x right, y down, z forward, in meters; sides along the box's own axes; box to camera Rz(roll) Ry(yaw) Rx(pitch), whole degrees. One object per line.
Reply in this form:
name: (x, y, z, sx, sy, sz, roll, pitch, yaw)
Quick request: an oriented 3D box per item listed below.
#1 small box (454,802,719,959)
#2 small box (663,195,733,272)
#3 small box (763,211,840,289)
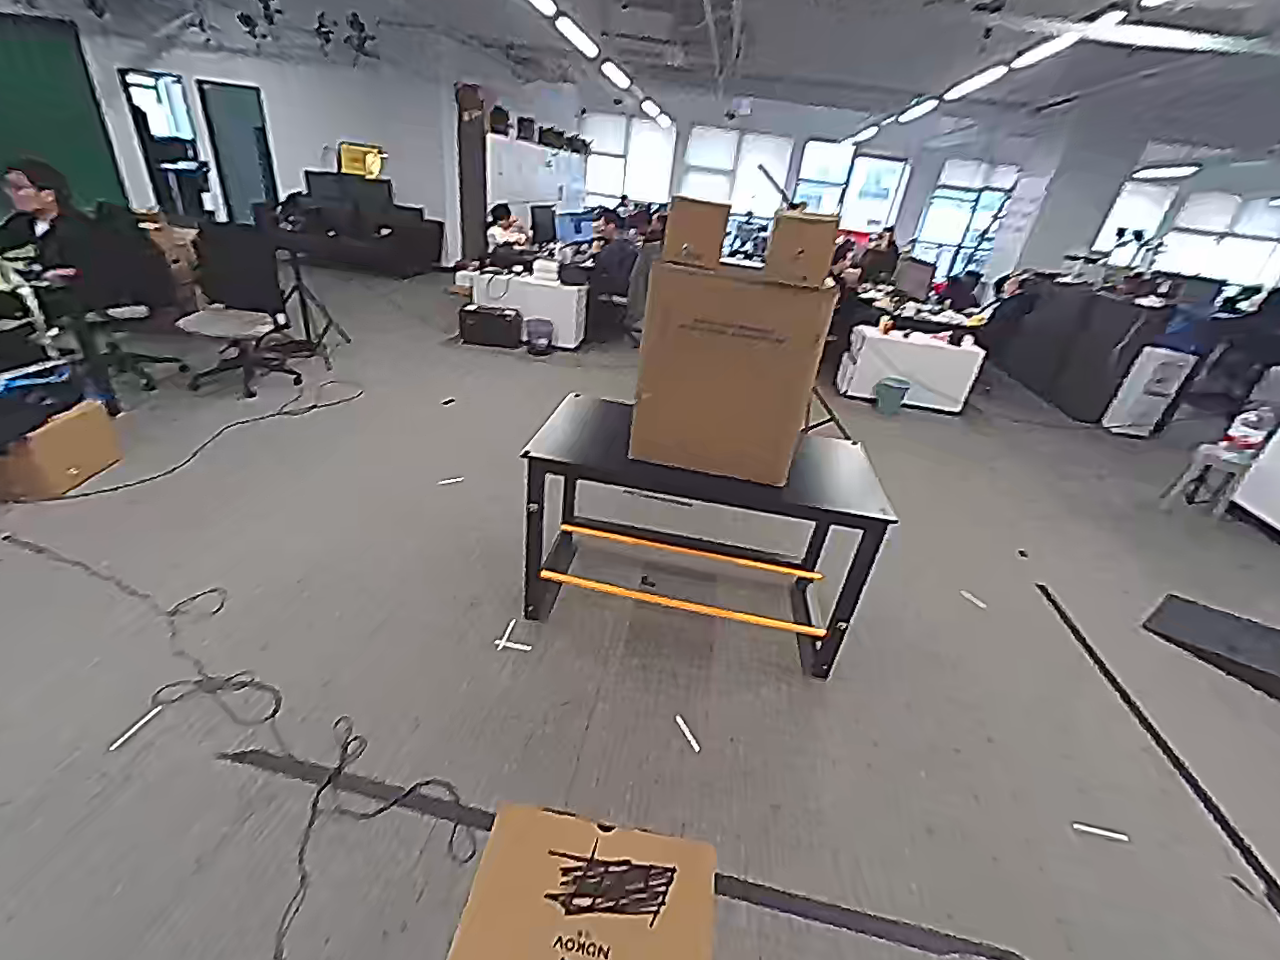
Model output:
small box: (-0.042, 0.371, 0.379, 0.168, 0.176, 0.179, 9, 32, 4)
small box: (0.167, -0.708, 1.549, 0.168, 0.176, 0.179, 11, 30, 4)
small box: (0.435, -0.632, 1.481, 0.168, 0.176, 0.179, 10, 32, 6)
